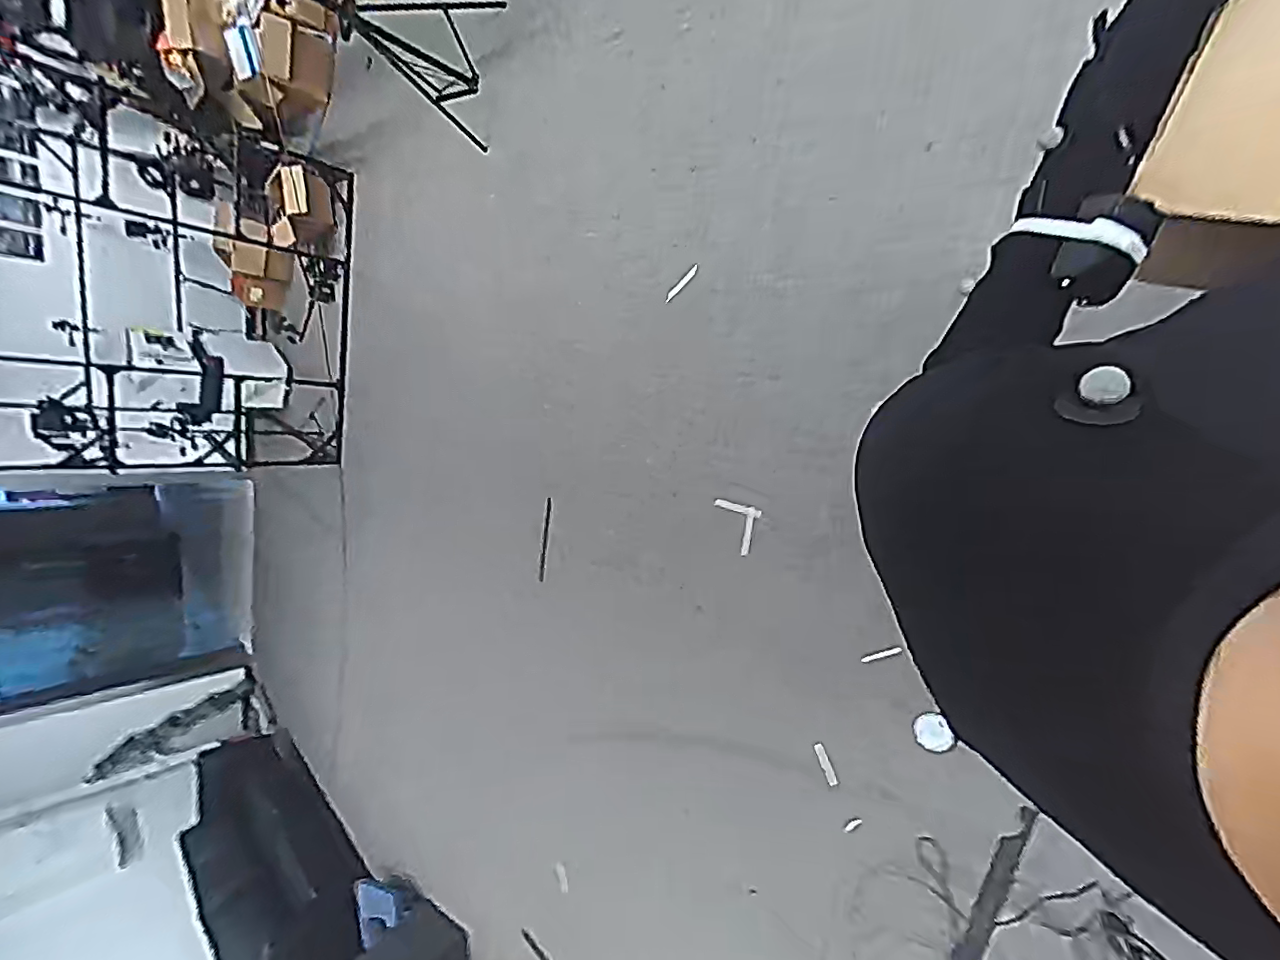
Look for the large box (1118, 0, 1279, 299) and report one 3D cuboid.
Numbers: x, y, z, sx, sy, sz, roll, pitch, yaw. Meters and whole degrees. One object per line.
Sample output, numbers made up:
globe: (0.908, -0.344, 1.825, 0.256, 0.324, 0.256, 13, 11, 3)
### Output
large box: (0.638, -0.290, 0.362, 0.408, 0.320, 0.320, 27, 114, 35)
